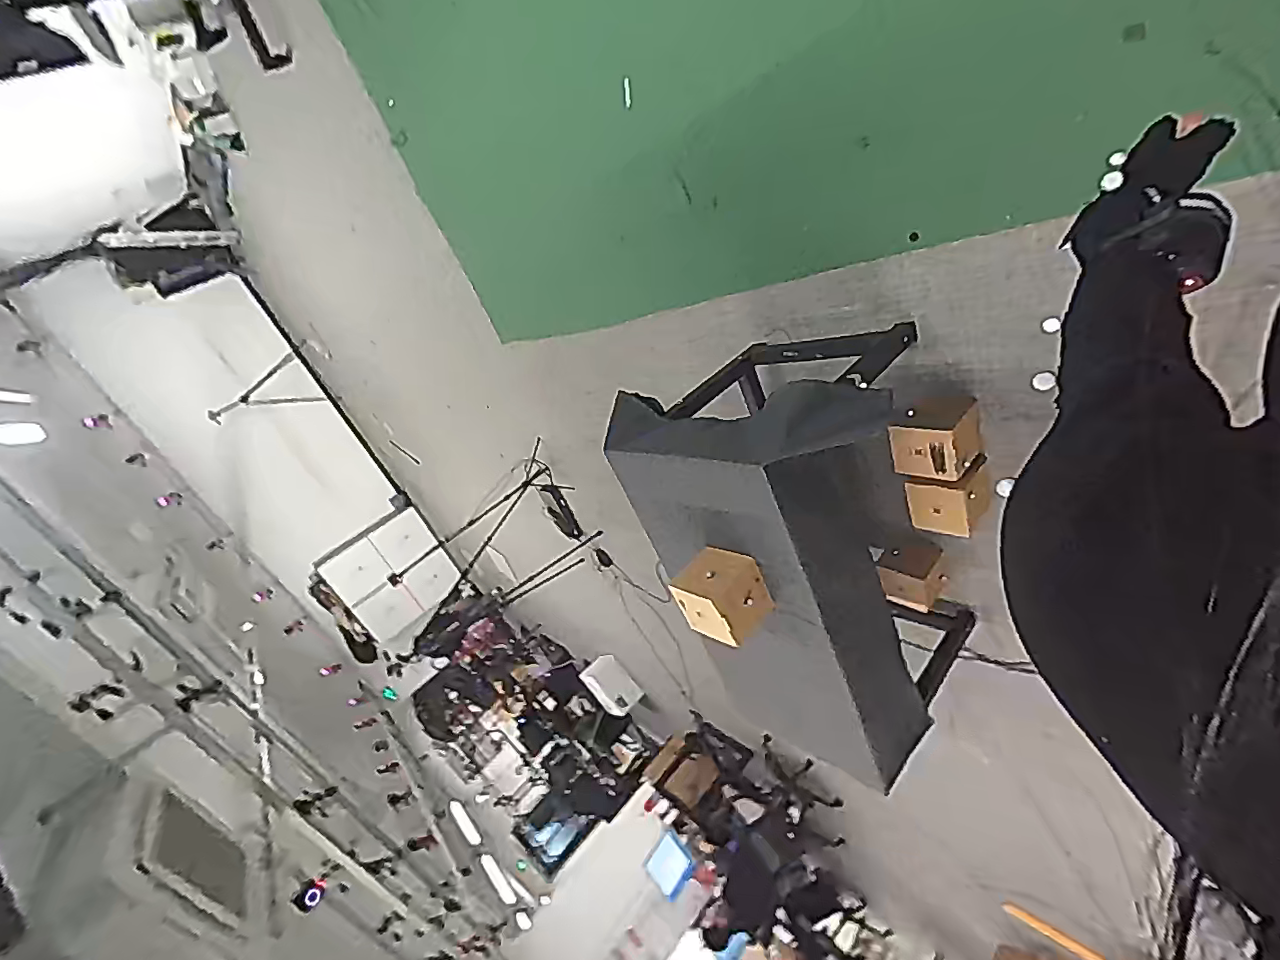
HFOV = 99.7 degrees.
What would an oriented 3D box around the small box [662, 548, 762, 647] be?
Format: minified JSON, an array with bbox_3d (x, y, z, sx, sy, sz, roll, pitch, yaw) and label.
[{"bbox_3d":[0.196,0.297,1.409,0.179,0.176,0.168,5,129,52],"label":"small box"}]

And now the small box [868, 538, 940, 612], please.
[{"bbox_3d":[0.940,0.331,1.925,0.179,0.176,0.168,17,138,46],"label":"small box"}]
